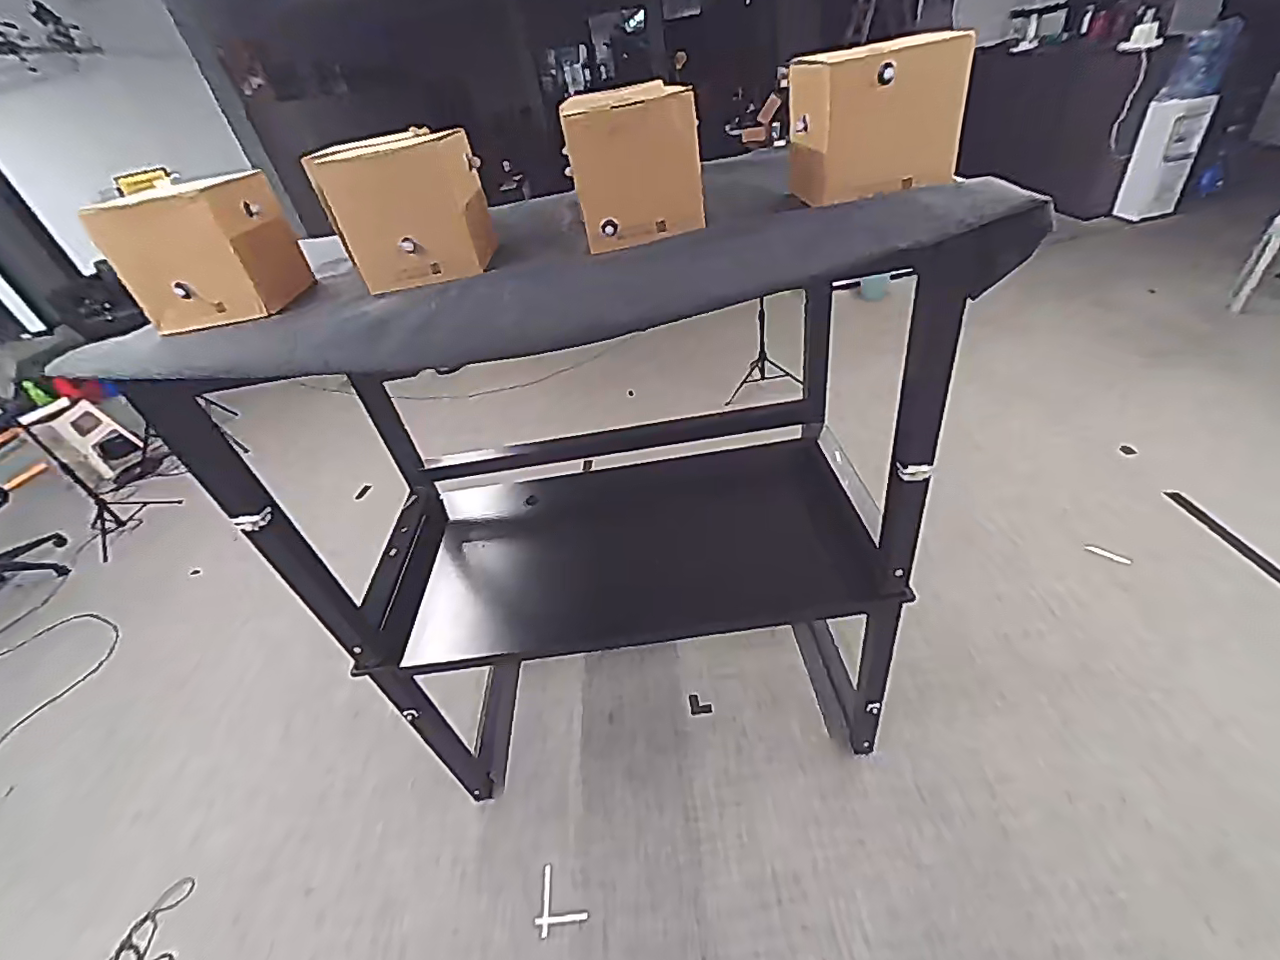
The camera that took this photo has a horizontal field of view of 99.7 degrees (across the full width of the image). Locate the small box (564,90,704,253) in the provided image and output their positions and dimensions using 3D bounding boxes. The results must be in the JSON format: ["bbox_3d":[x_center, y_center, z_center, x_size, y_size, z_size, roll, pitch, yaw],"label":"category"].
[{"bbox_3d":[-0.007,-0.439,0.777,0.168,0.176,0.179,-10,37,2],"label":"small box"}]

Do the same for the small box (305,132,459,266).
[{"bbox_3d":[-0.442,-0.501,0.965,0.179,0.176,0.168,-10,38,1],"label":"small box"}]

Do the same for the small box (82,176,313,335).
[{"bbox_3d":[-0.620,-0.329,0.793,0.168,0.176,0.179,-10,37,0],"label":"small box"}]

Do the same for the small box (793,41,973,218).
[{"bbox_3d":[0.309,-0.469,0.733,0.168,0.176,0.179,-10,37,3],"label":"small box"}]
